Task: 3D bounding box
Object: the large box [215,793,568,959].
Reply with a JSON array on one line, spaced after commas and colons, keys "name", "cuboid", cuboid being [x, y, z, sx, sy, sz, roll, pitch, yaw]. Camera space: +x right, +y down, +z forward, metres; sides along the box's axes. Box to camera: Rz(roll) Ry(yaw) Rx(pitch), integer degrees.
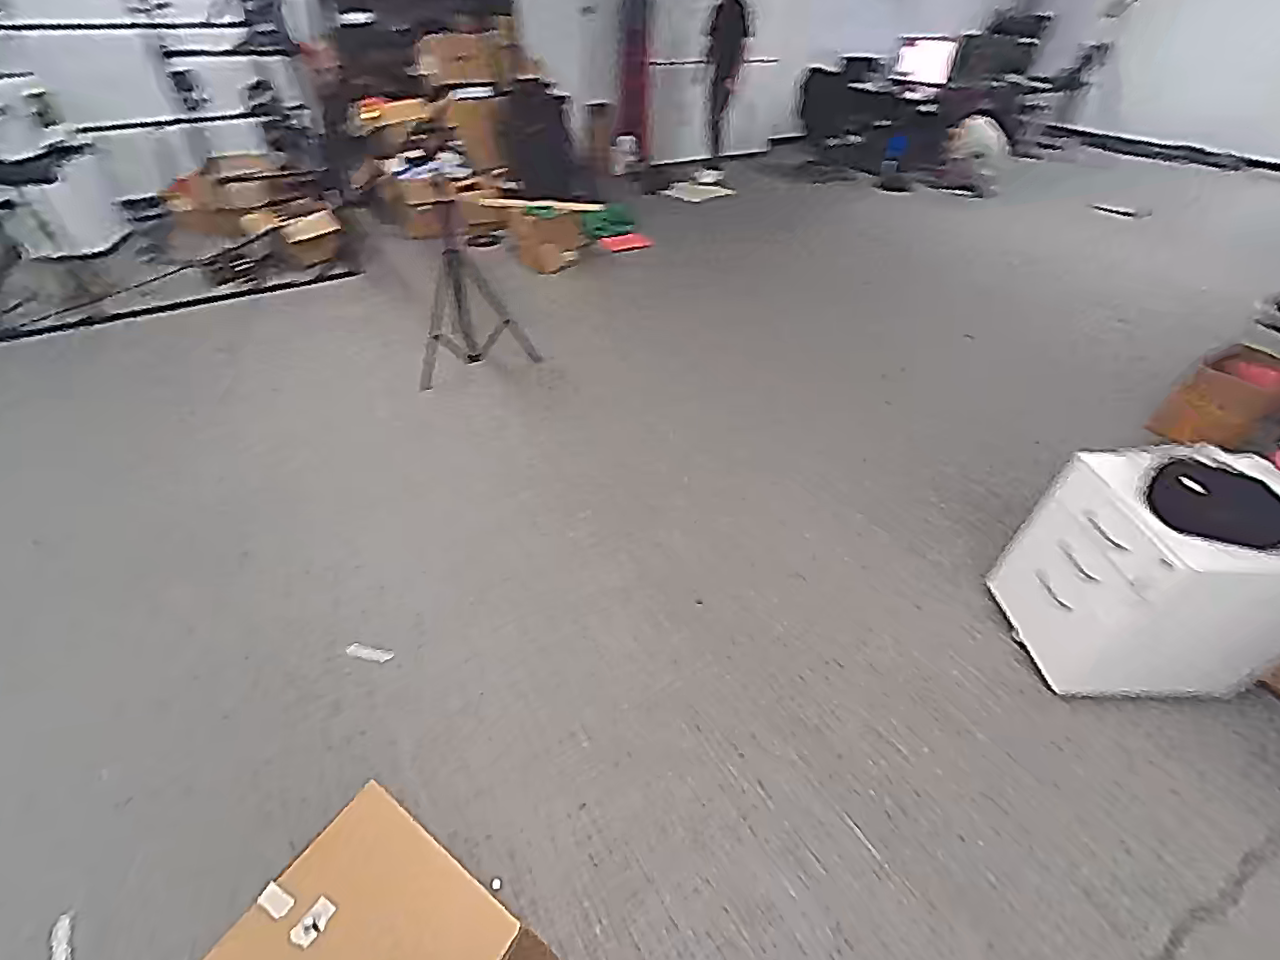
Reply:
[{"name": "large box", "cuboid": [-0.299, 0.700, 0.702, 0.320, 0.408, 0.320, 15, 46, 34]}]
